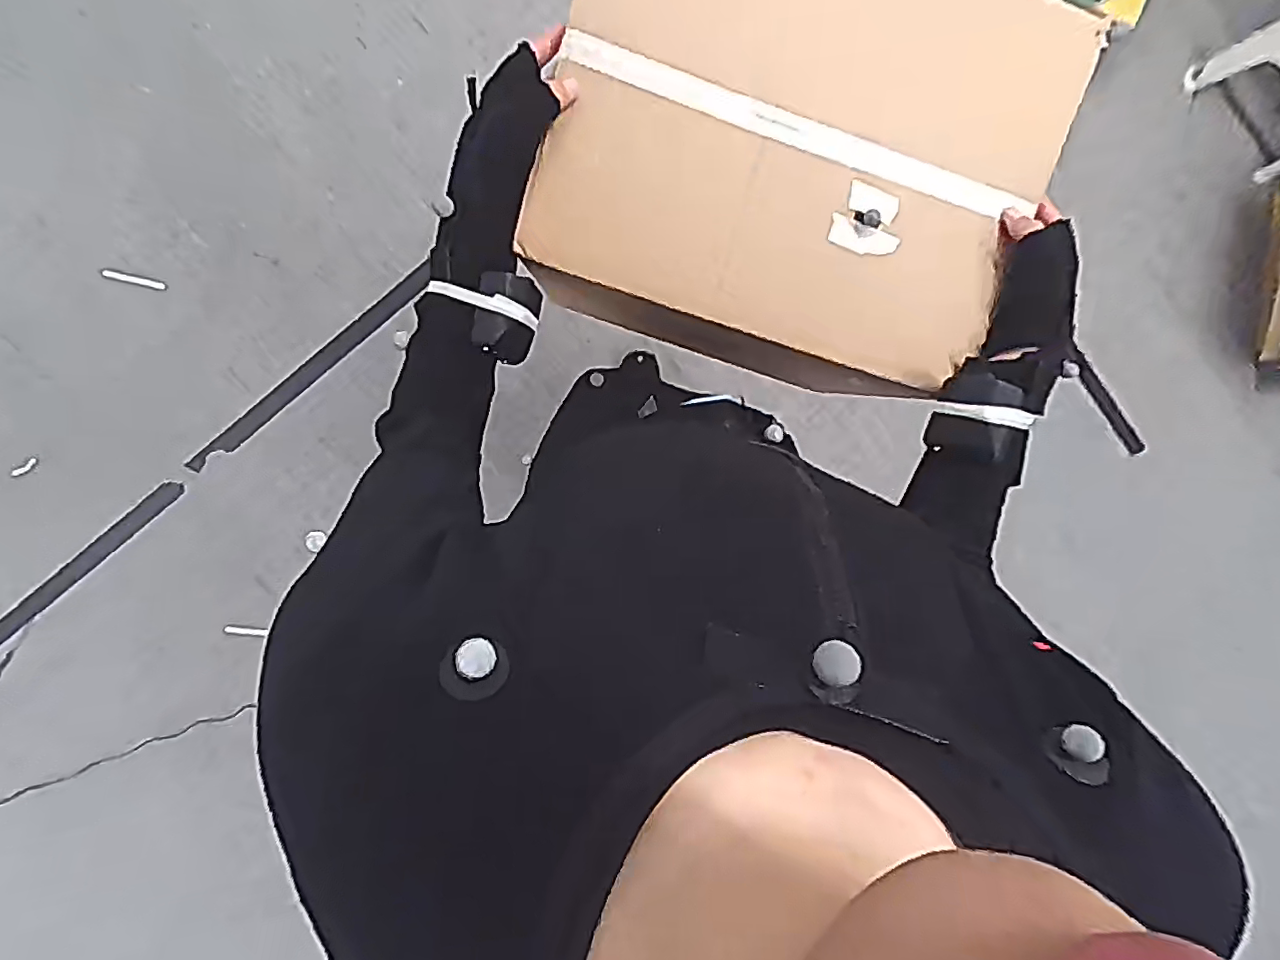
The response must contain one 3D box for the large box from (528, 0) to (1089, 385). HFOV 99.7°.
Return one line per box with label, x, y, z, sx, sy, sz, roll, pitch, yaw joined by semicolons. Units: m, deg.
large box;0.125;-0.310;0.588;0.408;0.320;0.320;17;100;-7
